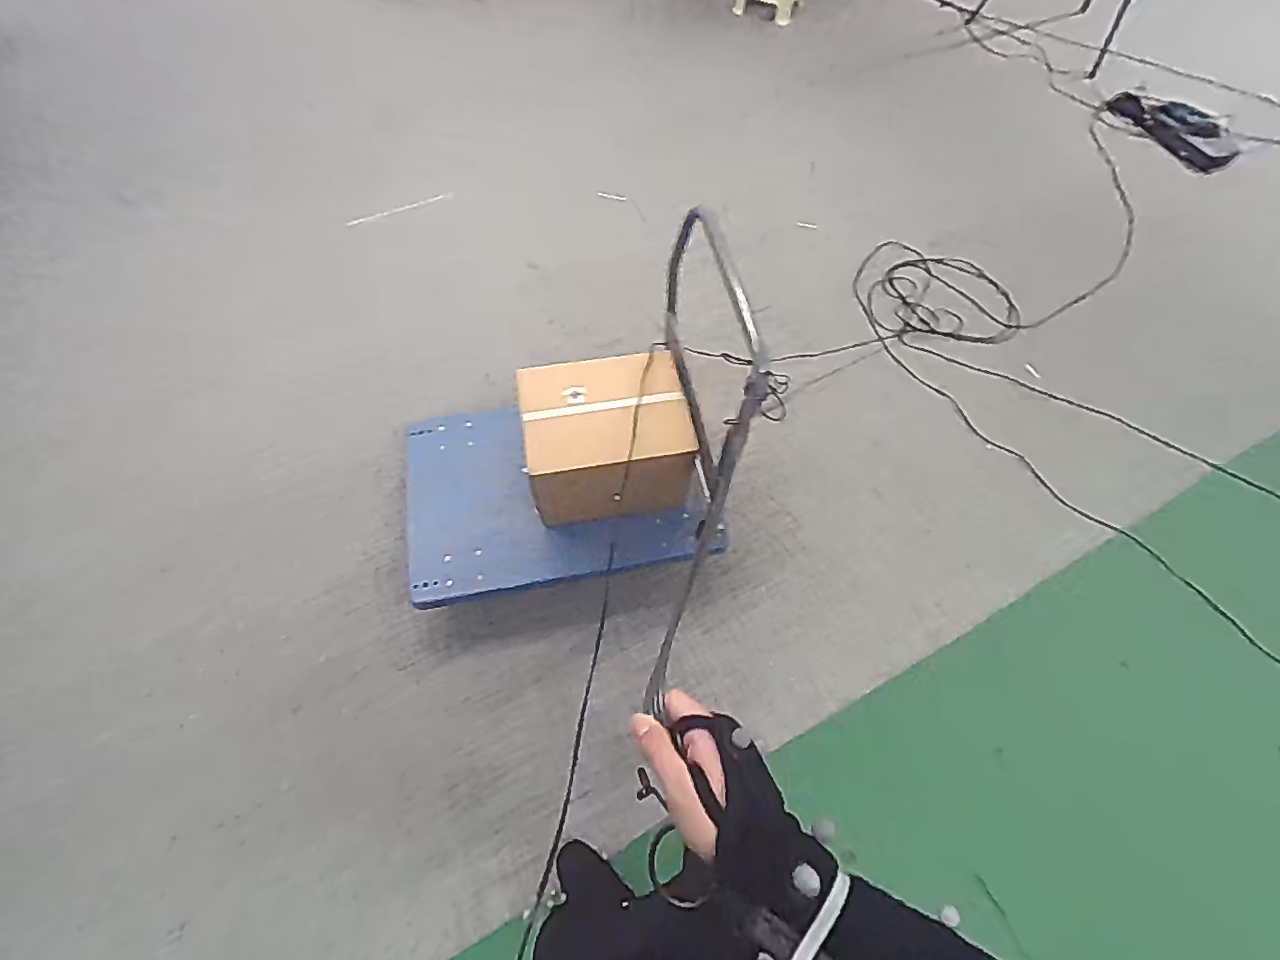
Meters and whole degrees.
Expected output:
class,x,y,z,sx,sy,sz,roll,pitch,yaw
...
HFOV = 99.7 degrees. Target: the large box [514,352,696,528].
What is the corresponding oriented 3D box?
class,x,y,z,sx,sy,sz,roll,pitch,yaw
large box,-0.093,-0.096,1.436,0.408,0.320,0.320,-9,63,-6
